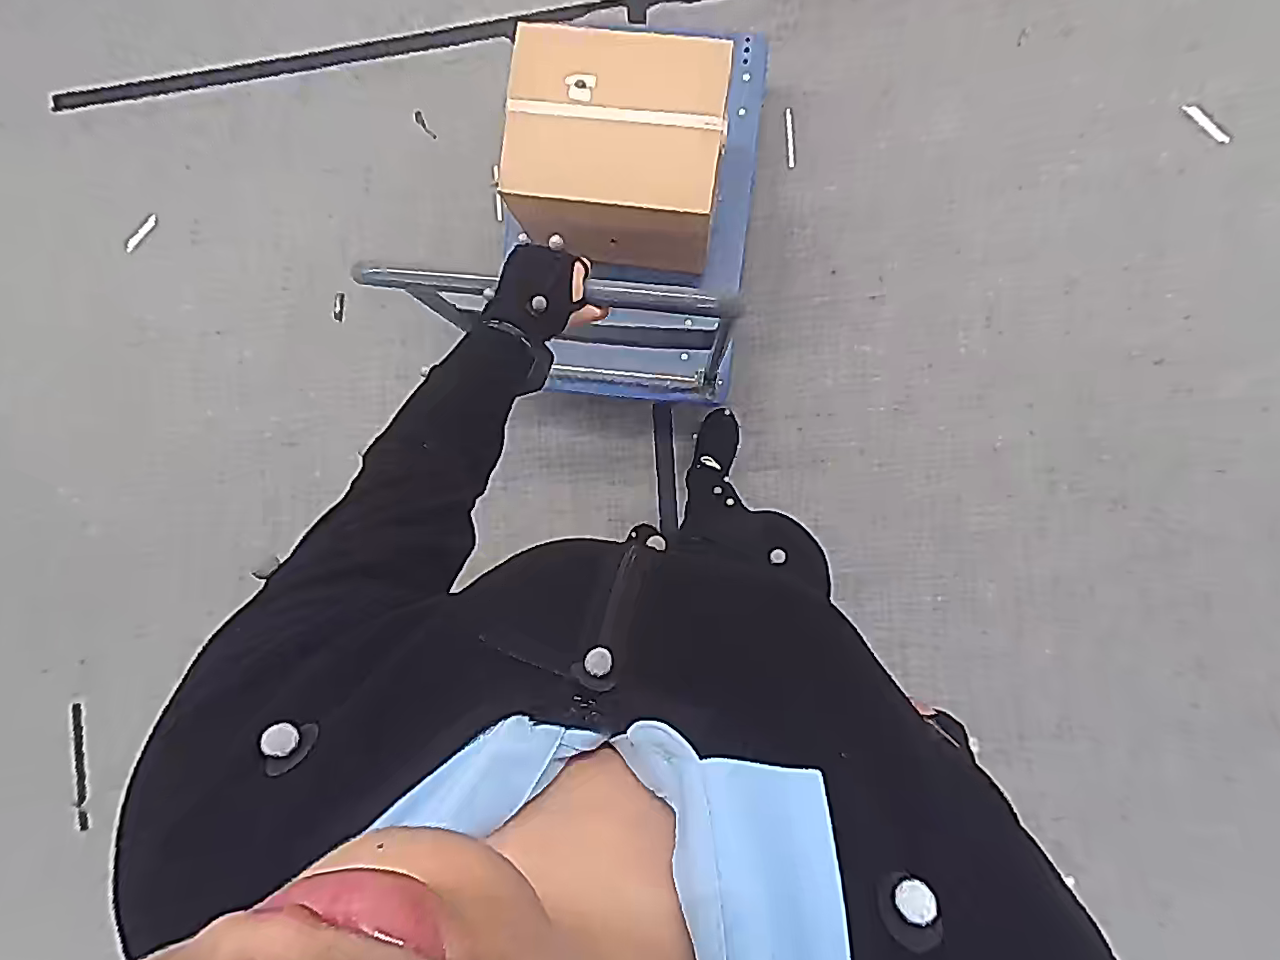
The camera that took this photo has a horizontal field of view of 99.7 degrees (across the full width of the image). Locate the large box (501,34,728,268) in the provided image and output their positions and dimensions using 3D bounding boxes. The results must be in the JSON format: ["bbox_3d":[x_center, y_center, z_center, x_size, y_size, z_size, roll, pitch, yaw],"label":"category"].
[{"bbox_3d":[-0.035,-0.671,1.154,0.408,0.320,0.320,8,91,6],"label":"large box"}]
